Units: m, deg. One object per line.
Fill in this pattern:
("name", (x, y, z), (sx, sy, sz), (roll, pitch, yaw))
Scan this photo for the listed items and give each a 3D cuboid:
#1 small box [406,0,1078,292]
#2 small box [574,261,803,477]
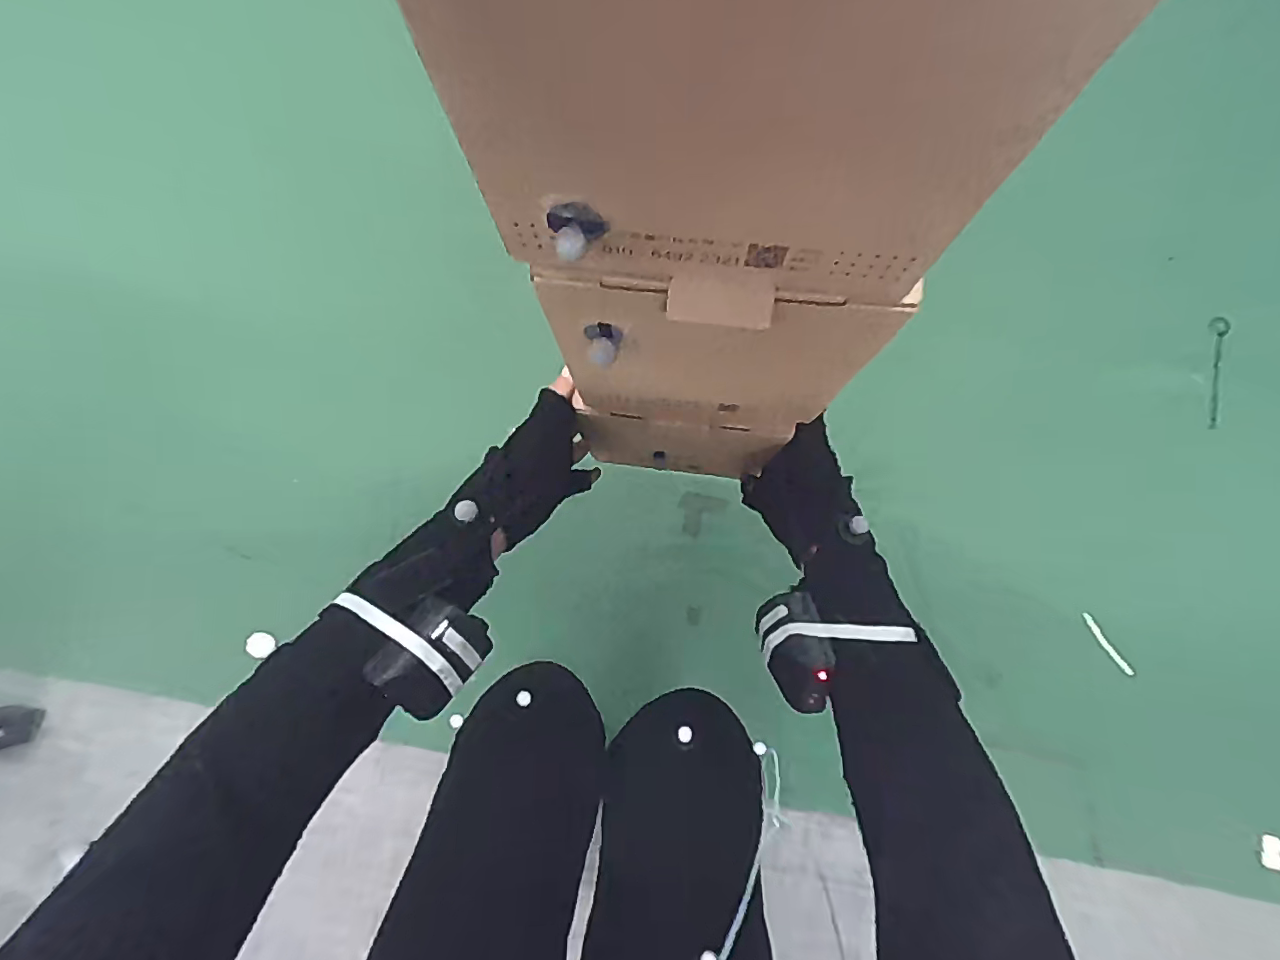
("small box", (0.032, -0.183, 0.174), (0.168, 0.176, 0.179), (6, 79, 3))
("small box", (0.043, -0.110, 0.496), (0.168, 0.176, 0.179), (7, 81, 3))
